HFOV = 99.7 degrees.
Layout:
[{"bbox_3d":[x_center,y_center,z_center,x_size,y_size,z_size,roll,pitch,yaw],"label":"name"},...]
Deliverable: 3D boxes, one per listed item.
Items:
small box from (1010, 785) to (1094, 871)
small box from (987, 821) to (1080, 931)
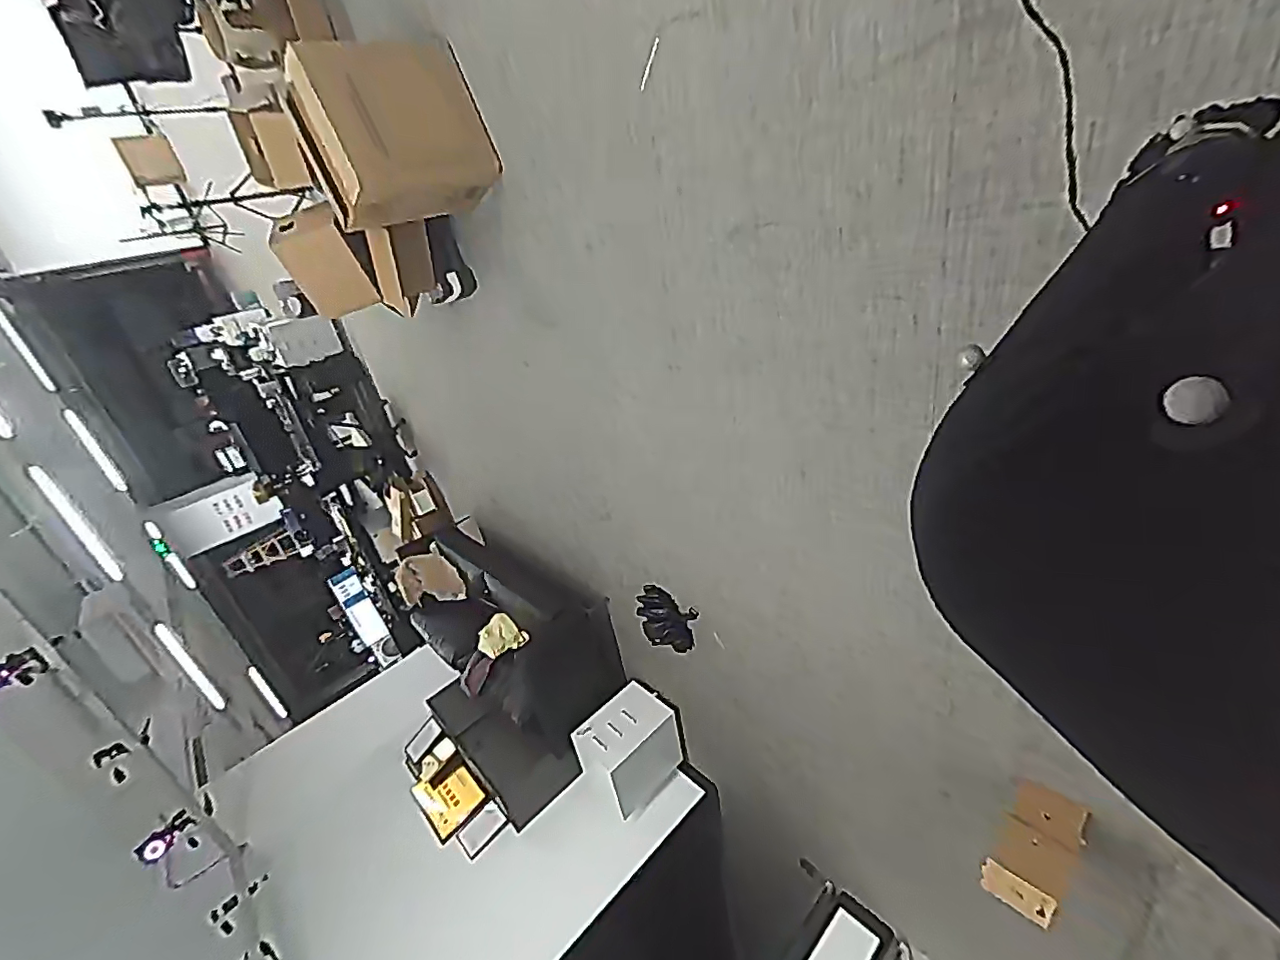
[{"bbox_3d":[1.282,1.099,1.694,0.179,0.176,0.168,18,129,44],"label":"small box"},{"bbox_3d":[1.163,1.158,1.602,0.179,0.176,0.168,17,127,46],"label":"small box"}]
